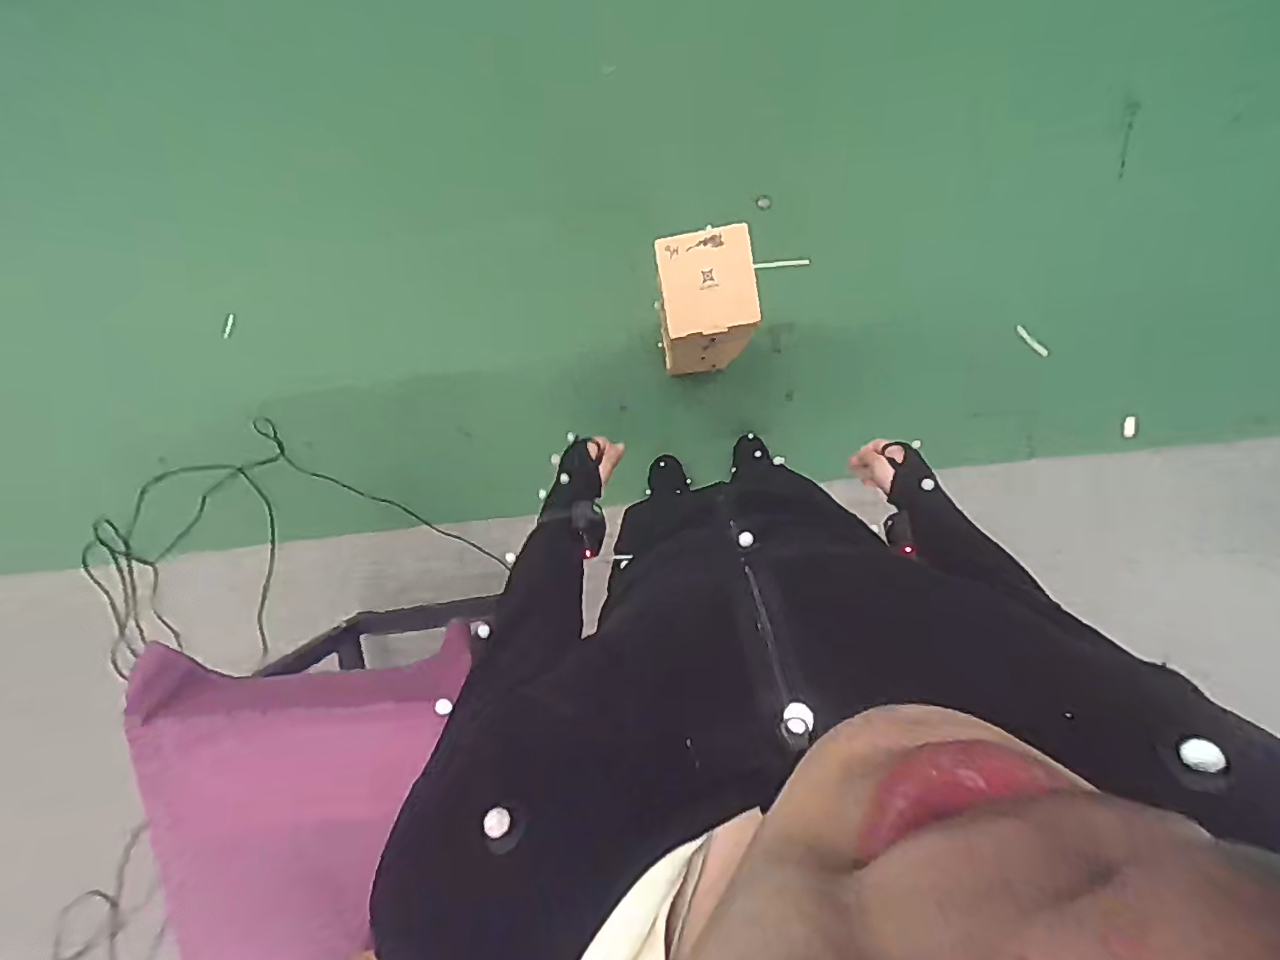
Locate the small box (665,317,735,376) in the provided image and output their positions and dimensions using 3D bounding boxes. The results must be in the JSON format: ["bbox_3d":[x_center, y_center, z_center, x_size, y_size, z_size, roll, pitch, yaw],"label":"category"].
[{"bbox_3d":[0.162,-0.388,1.509,0.179,0.176,0.168,-6,94,4],"label":"small box"}]

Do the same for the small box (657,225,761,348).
[{"bbox_3d":[0.127,-0.352,1.021,0.168,0.176,0.179,-9,95,4],"label":"small box"}]

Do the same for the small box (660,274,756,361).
[{"bbox_3d":[0.145,-0.366,1.184,0.179,0.176,0.168,-11,95,4],"label":"small box"}]

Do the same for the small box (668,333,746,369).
[{"bbox_3d":[0.159,-0.378,1.348,0.179,0.176,0.168,-9,95,6],"label":"small box"}]
